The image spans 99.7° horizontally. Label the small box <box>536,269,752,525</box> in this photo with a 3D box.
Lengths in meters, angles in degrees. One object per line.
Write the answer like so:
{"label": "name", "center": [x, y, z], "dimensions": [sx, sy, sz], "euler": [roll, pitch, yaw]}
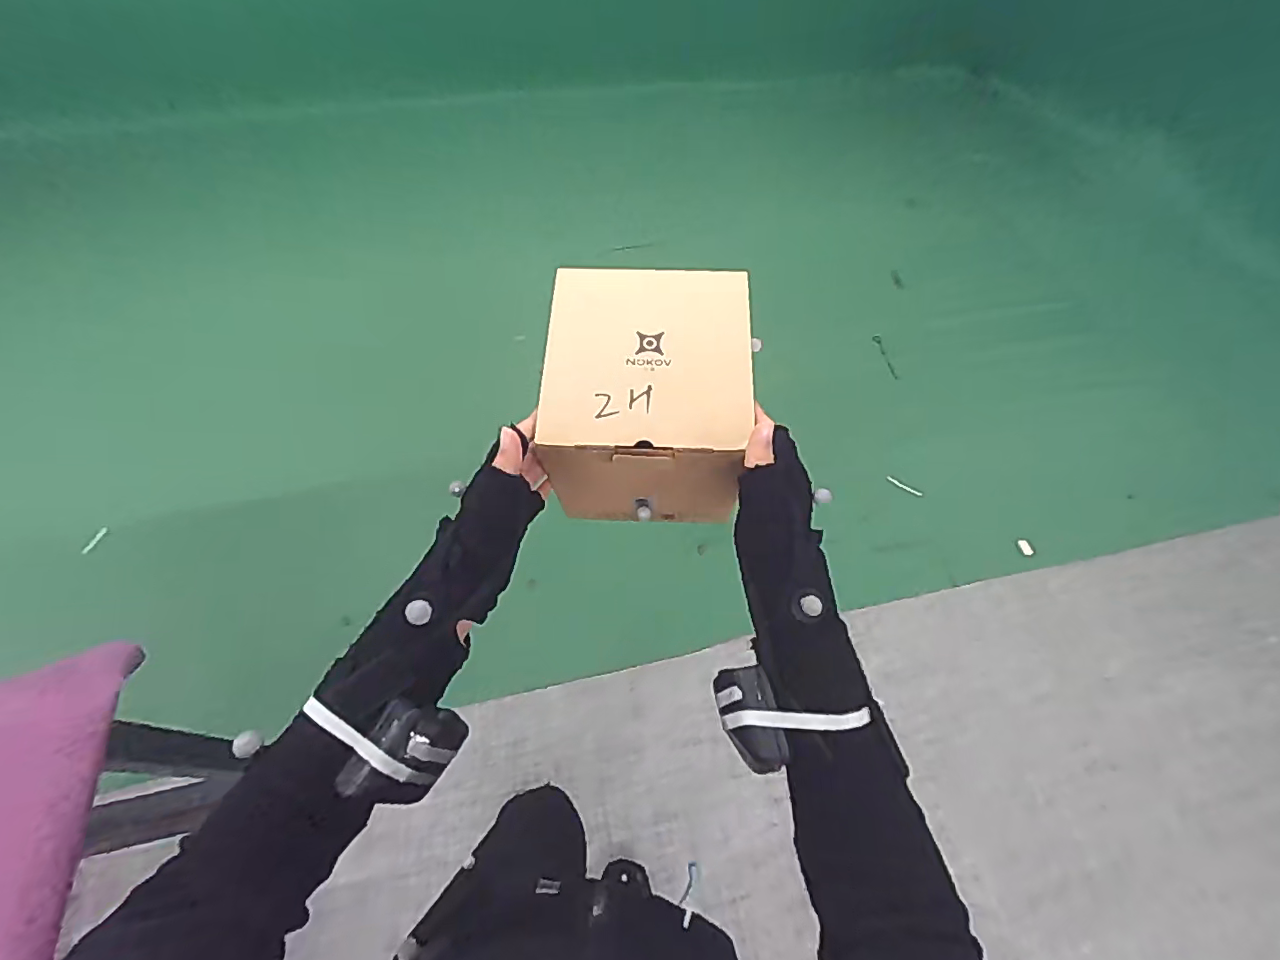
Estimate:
{"label": "small box", "center": [0.008, -0.070, 0.510], "dimensions": [0.168, 0.176, 0.179], "euler": [2, 67, 3]}
